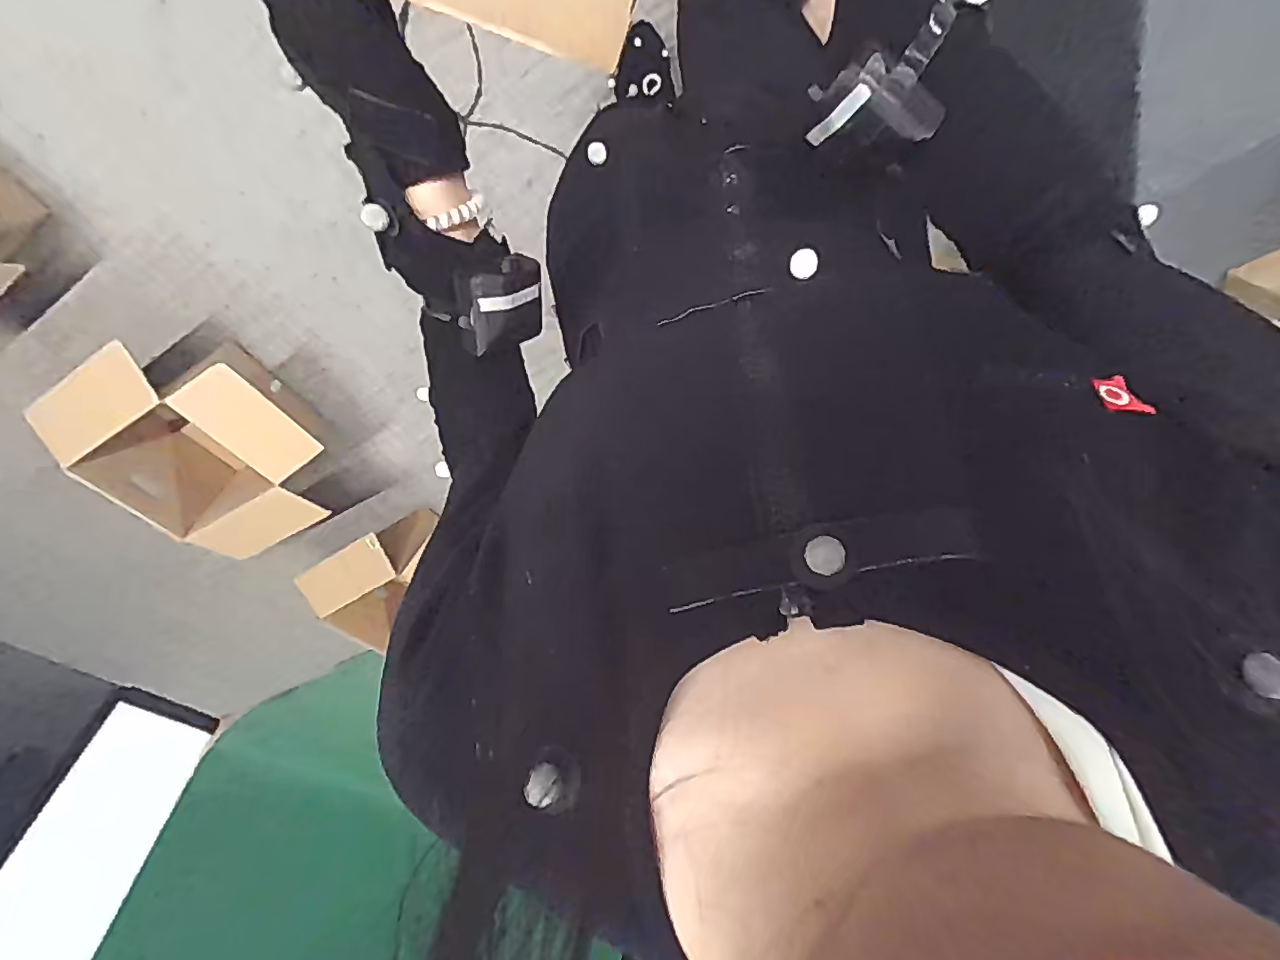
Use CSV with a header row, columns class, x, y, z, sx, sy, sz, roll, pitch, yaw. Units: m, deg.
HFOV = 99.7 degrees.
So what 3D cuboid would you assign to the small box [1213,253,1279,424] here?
class,x,y,z,sx,sy,sz,roll,pitch,yaw
small box,0.823,-0.169,0.617,0.168,0.176,0.179,-24,127,17
